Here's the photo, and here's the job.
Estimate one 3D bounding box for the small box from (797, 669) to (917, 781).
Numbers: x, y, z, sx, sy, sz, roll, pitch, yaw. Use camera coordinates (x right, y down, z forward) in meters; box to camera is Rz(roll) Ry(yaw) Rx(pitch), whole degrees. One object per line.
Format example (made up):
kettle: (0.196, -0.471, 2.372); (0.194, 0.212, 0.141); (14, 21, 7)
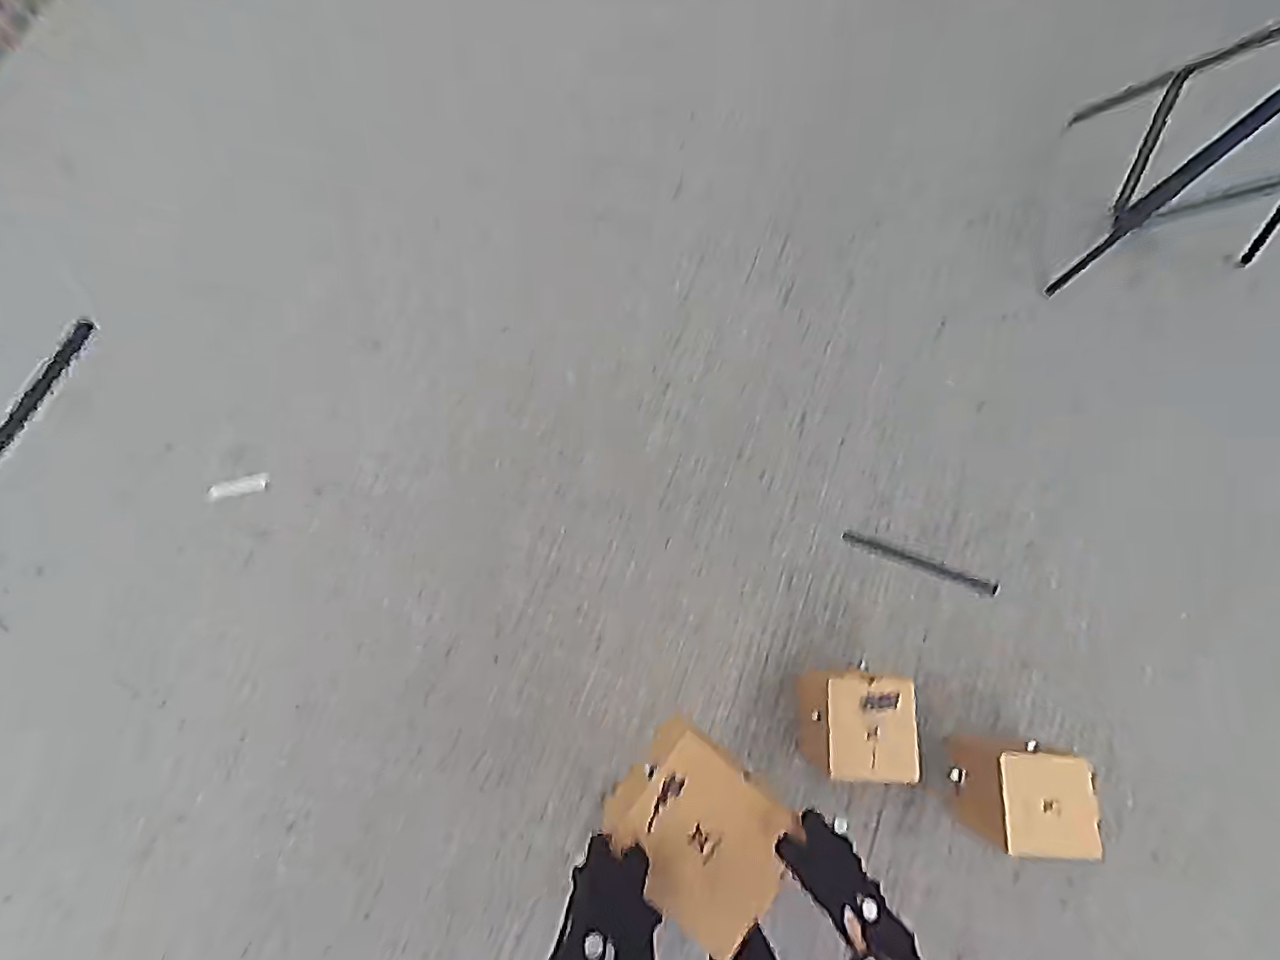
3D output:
small box: (0.414, 0.471, 1.062); (0.168, 0.176, 0.179); (3, 76, -2)

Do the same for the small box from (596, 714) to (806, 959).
small box: (0.066, 0.417, 0.669); (0.179, 0.176, 0.168); (38, 77, 8)

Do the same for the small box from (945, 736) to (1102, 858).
small box: (0.728, 0.602, 1.045); (0.179, 0.176, 0.168); (3, 75, -1)
